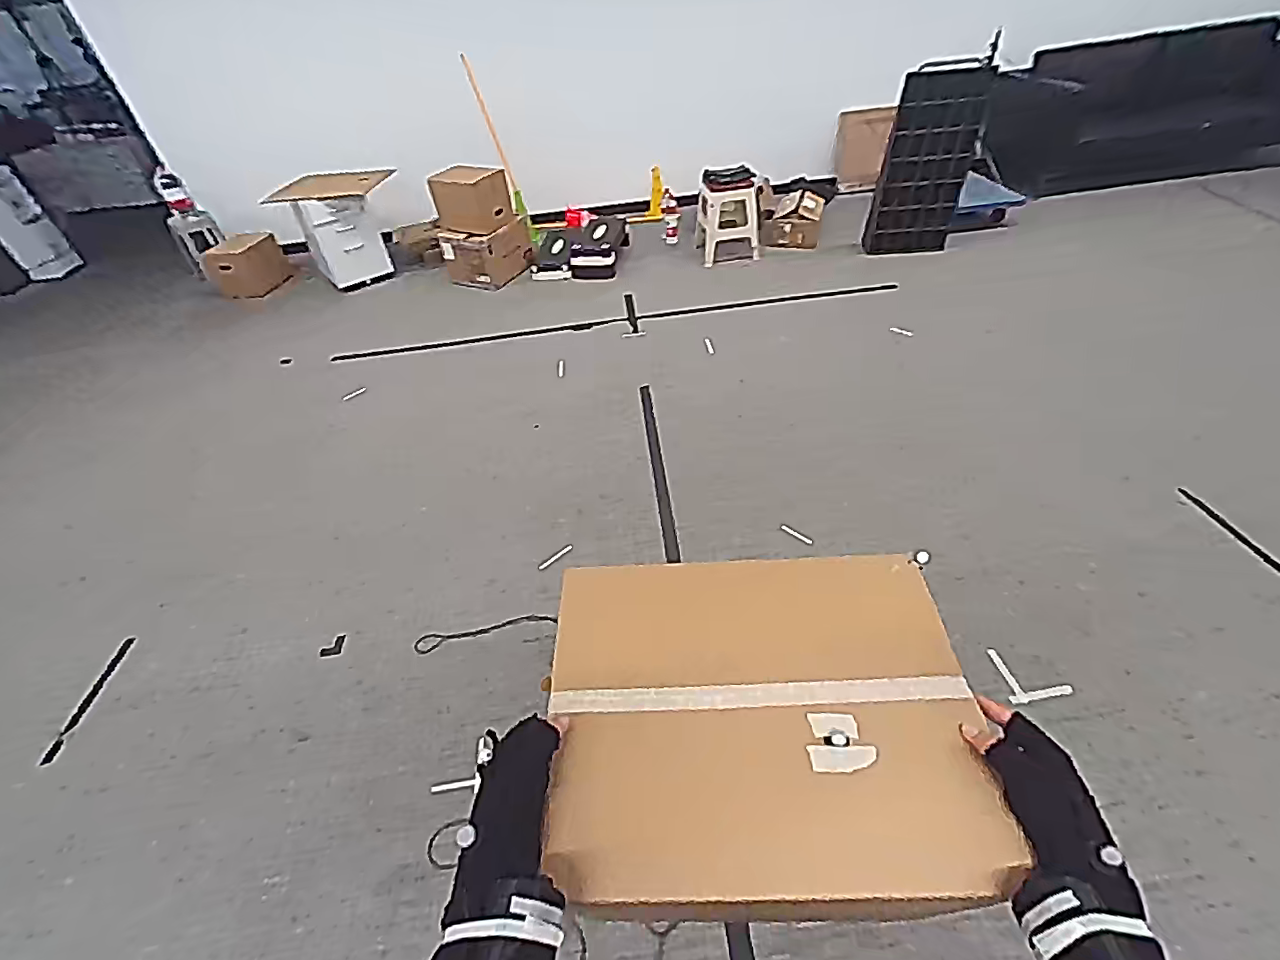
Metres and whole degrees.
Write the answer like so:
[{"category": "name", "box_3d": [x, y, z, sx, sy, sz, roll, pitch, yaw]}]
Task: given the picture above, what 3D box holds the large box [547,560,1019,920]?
[{"category": "large box", "box_3d": [0.121, 0.320, 0.658, 0.408, 0.320, 0.320, -3, 49, 2]}]
